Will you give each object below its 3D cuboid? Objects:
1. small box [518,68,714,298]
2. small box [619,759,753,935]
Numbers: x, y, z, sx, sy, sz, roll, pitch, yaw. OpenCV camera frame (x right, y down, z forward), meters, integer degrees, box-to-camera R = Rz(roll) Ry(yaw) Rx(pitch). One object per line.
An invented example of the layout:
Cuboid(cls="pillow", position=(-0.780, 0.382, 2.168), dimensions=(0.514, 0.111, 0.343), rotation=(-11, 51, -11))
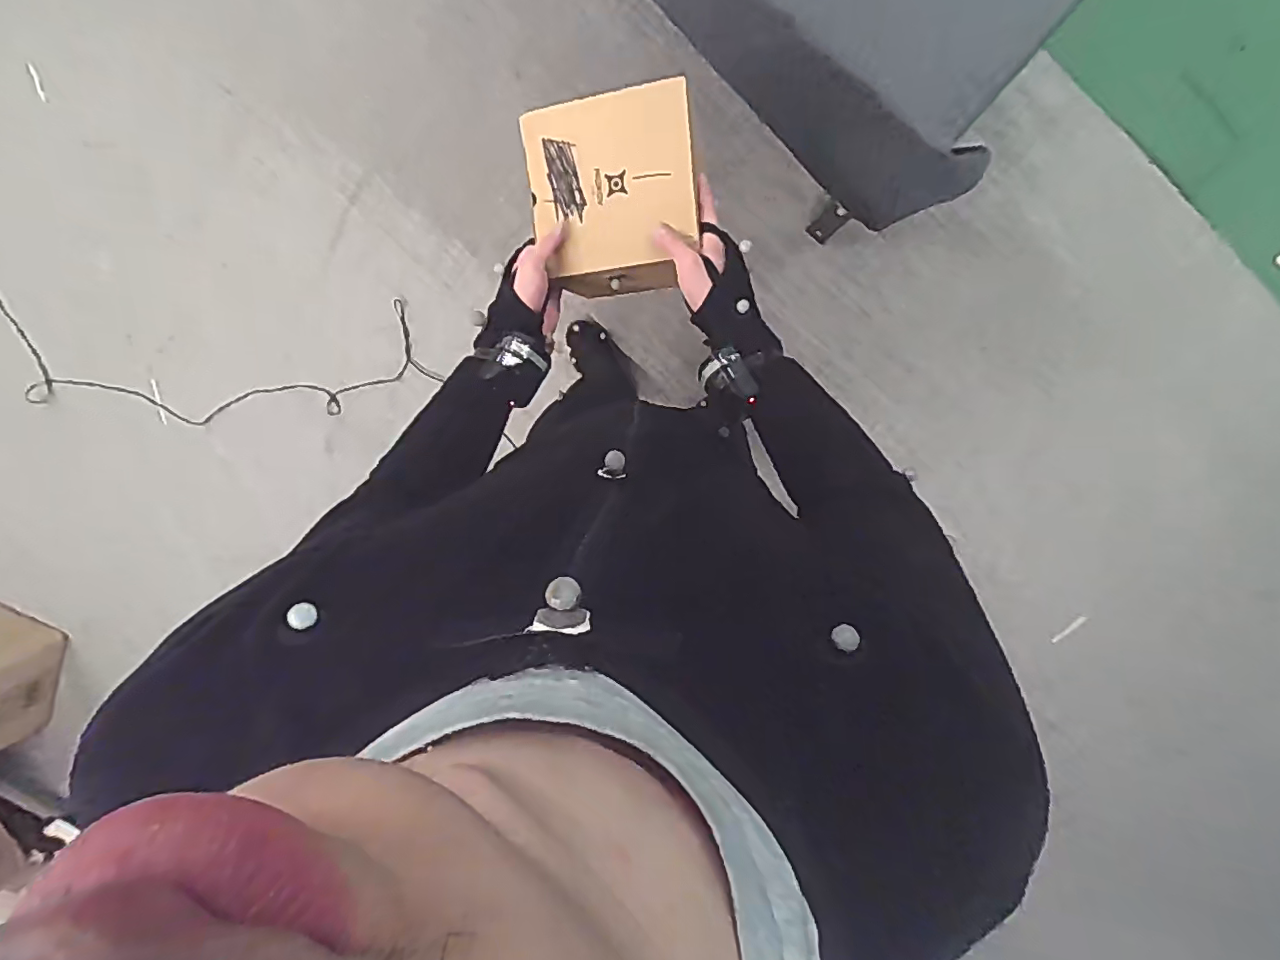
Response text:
Cuboid(cls="small box", position=(-0.014, -0.309, 0.606), dimensions=(0.179, 0.176, 0.168), rotation=(-5, 100, 11))
Cuboid(cls="small box", position=(0.085, 0.670, 1.003), dimensions=(0.168, 0.176, 0.179), rotation=(42, 102, -6))
